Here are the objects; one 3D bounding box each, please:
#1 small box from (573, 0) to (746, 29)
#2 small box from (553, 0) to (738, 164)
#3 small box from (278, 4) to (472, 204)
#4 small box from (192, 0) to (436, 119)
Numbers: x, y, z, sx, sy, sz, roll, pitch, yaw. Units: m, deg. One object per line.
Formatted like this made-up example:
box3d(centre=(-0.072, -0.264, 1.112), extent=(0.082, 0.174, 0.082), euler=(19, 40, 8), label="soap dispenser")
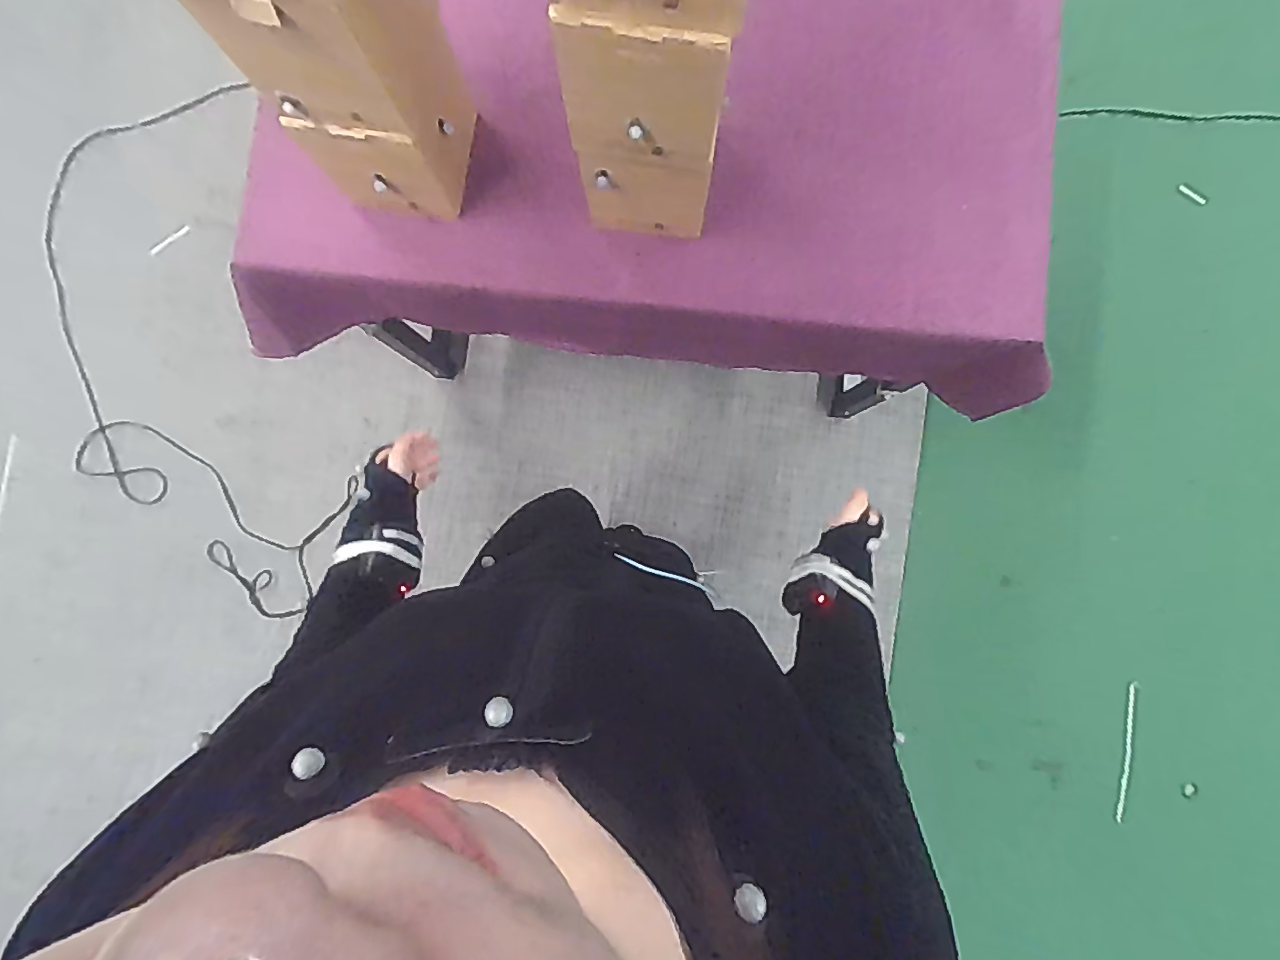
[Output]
box3d(centre=(0.022, -0.495, 0.399), extent=(0.168, 0.176, 0.179), euler=(8, 87, 0), label="small box")
box3d(centre=(0.017, -0.475, 0.561), extent=(0.168, 0.176, 0.179), euler=(11, 87, 0), label="small box")
box3d(centre=(-0.337, -0.503, 0.723), extent=(0.168, 0.176, 0.179), euler=(9, 88, -1), label="small box")
box3d(centre=(-0.331, -0.519, 0.559), extent=(0.168, 0.176, 0.179), euler=(10, 86, 0), label="small box")
